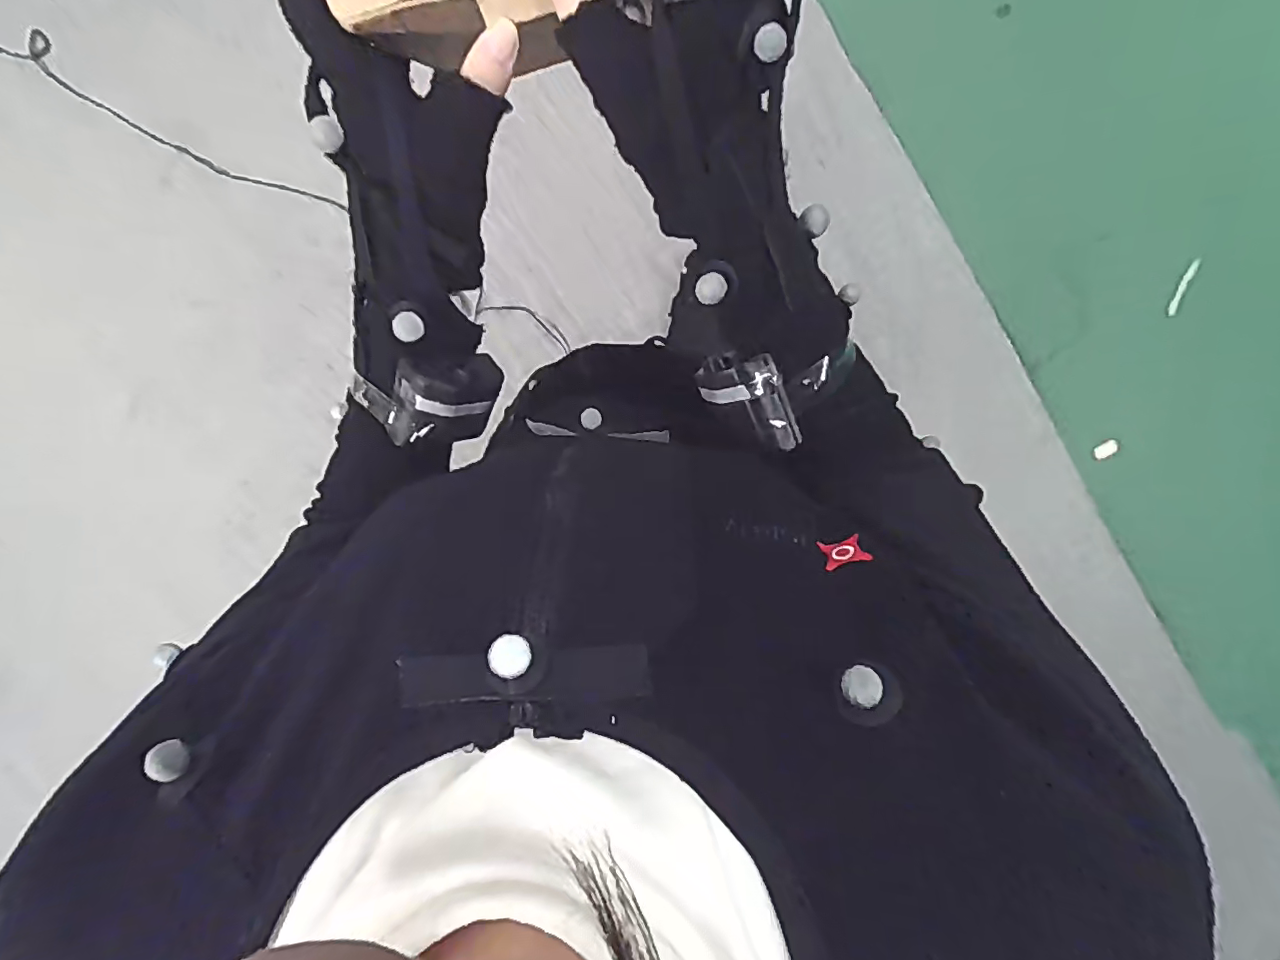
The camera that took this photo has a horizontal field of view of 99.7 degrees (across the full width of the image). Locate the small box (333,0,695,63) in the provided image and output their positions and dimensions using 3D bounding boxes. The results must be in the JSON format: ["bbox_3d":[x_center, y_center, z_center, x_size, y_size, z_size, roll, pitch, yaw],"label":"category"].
[{"bbox_3d":[-0.062,-0.323,0.248,0.168,0.176,0.179,-9,116,11],"label":"small box"}]
